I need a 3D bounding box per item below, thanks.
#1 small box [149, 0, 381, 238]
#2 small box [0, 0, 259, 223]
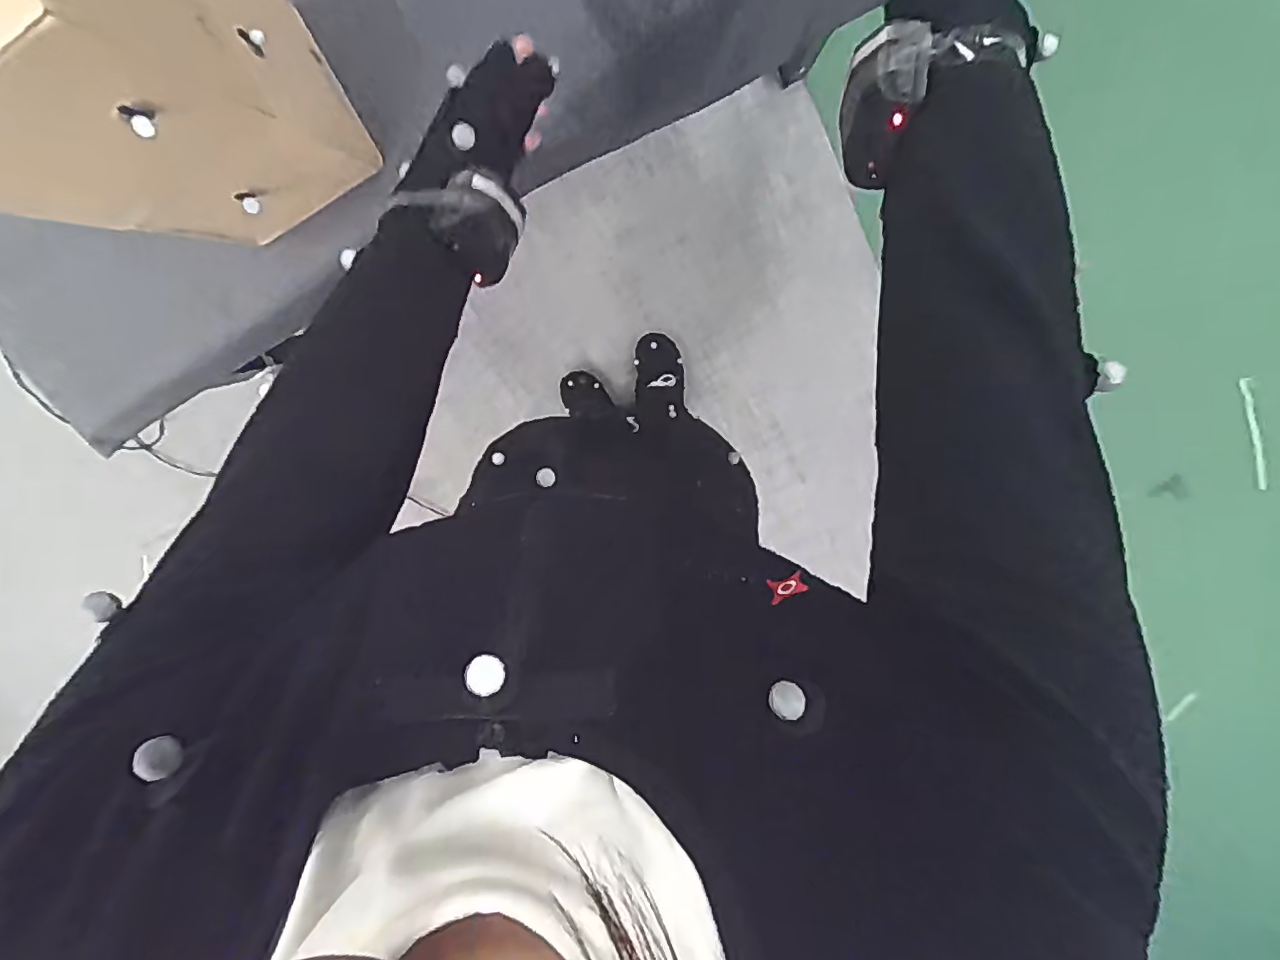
[{"bbox_3d":[-0.389,-0.349,0.505,0.179,0.176,0.168,-25,105,11],"label":"small box"},{"bbox_3d":[-0.398,-0.297,0.352,0.179,0.176,0.168,-25,103,12],"label":"small box"}]
